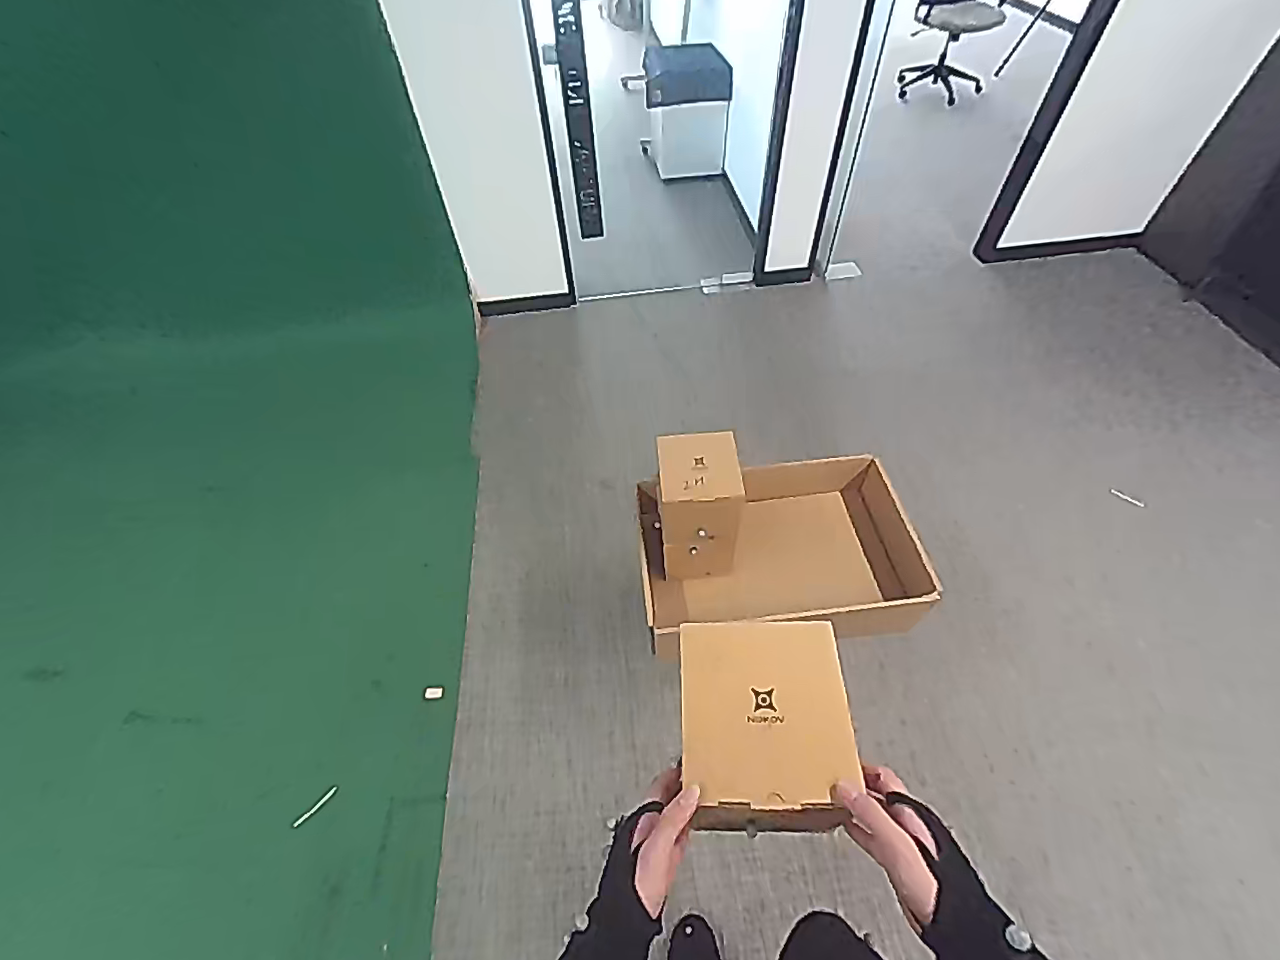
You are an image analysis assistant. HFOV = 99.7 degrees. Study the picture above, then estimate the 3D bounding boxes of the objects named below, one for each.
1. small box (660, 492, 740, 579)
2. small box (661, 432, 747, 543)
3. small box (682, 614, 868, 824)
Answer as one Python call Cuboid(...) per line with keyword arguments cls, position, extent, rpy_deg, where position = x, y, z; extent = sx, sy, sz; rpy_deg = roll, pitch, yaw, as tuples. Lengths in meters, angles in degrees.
Cuboid(cls="small box", position=(0.136, 0.118, 1.296), extent=(0.168, 0.176, 0.179), rpy_deg=(-5, 52, -1))
Cuboid(cls="small box", position=(0.130, 0.017, 1.167), extent=(0.168, 0.176, 0.179), rpy_deg=(-3, 52, 1))
Cuboid(cls="small box", position=(0.131, 0.266, 0.600), extent=(0.168, 0.176, 0.179), rpy_deg=(-1, 52, 4))
